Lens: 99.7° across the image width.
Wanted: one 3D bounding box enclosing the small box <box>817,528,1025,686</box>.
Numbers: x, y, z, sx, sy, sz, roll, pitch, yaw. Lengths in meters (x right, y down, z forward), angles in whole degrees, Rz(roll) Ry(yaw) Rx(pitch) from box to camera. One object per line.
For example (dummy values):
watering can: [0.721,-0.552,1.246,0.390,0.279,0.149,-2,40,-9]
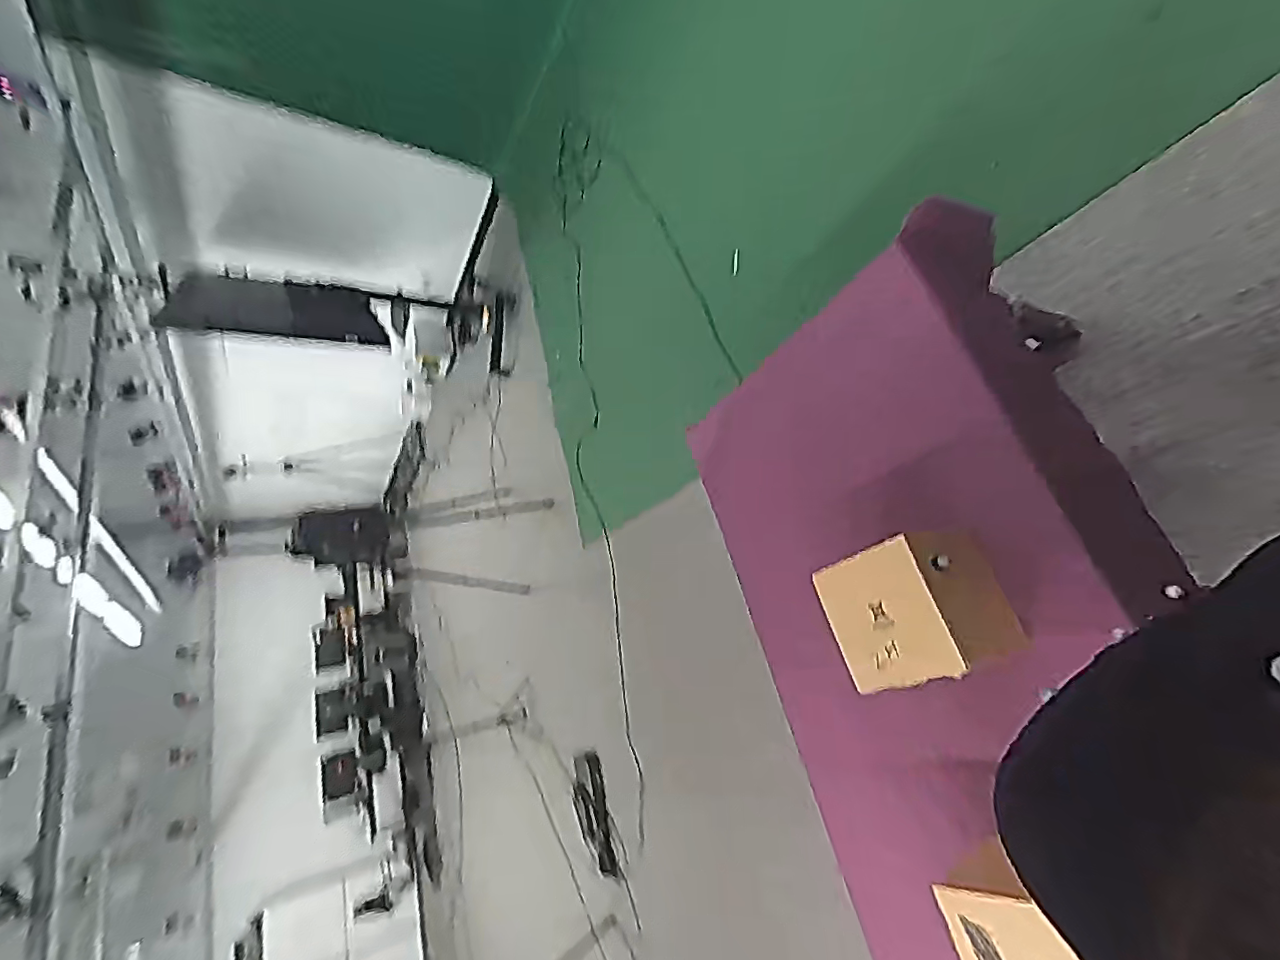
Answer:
small box: [0.397,0.175,0.773,0.168,0.176,0.179,-44,56,49]
